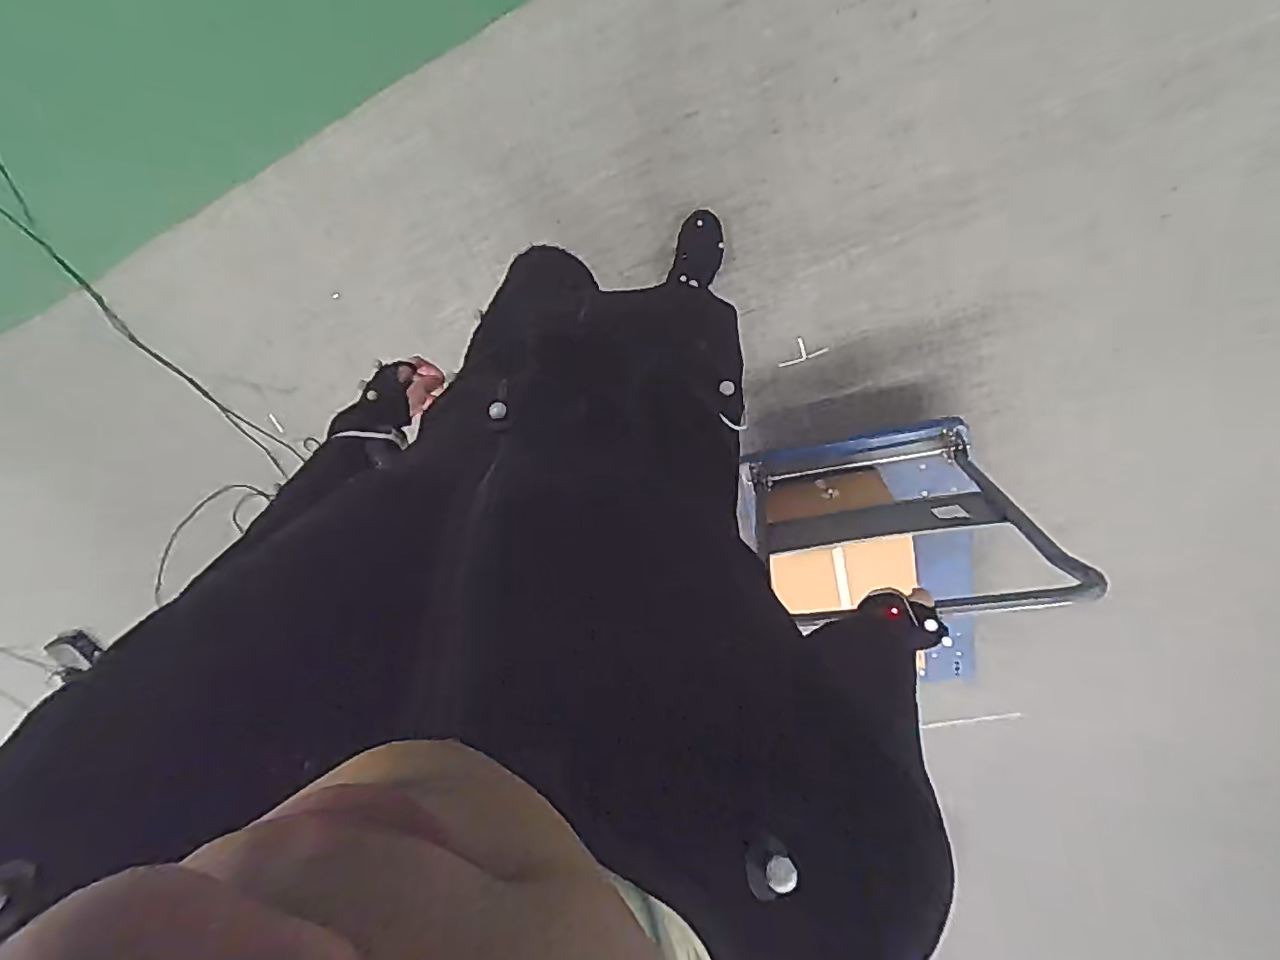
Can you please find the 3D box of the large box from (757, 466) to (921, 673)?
[{"bbox_3d":[0.501,0.229,1.402,0.320,0.320,0.408,-11,116,15],"label":"large box"}]
